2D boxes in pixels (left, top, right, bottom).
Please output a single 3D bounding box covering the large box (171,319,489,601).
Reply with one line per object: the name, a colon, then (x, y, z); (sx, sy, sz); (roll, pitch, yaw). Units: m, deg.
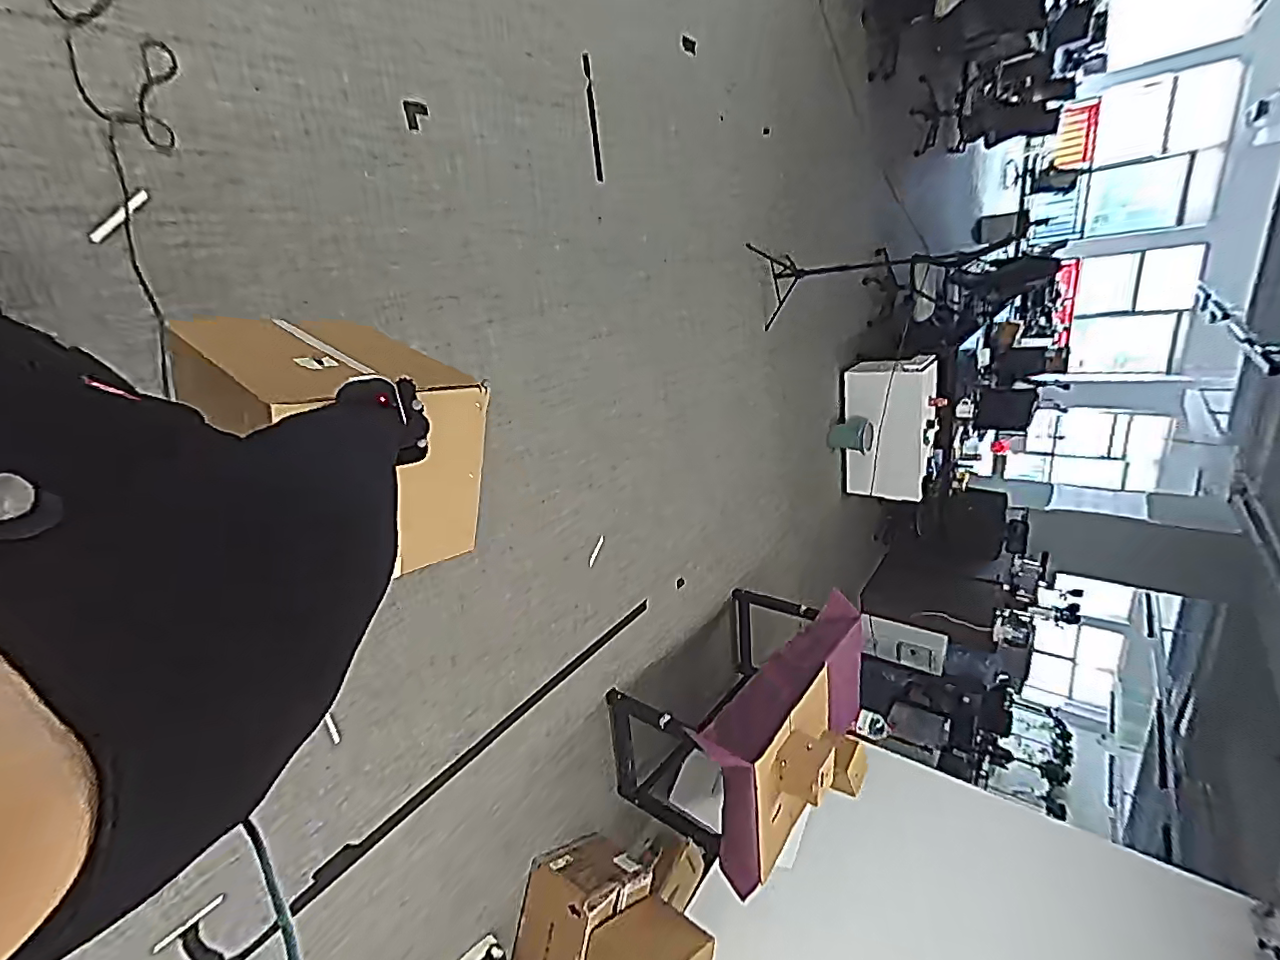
large box: (-0.523, -0.064, 0.922); (0.320, 0.408, 0.320); (-19, 129, -50)
